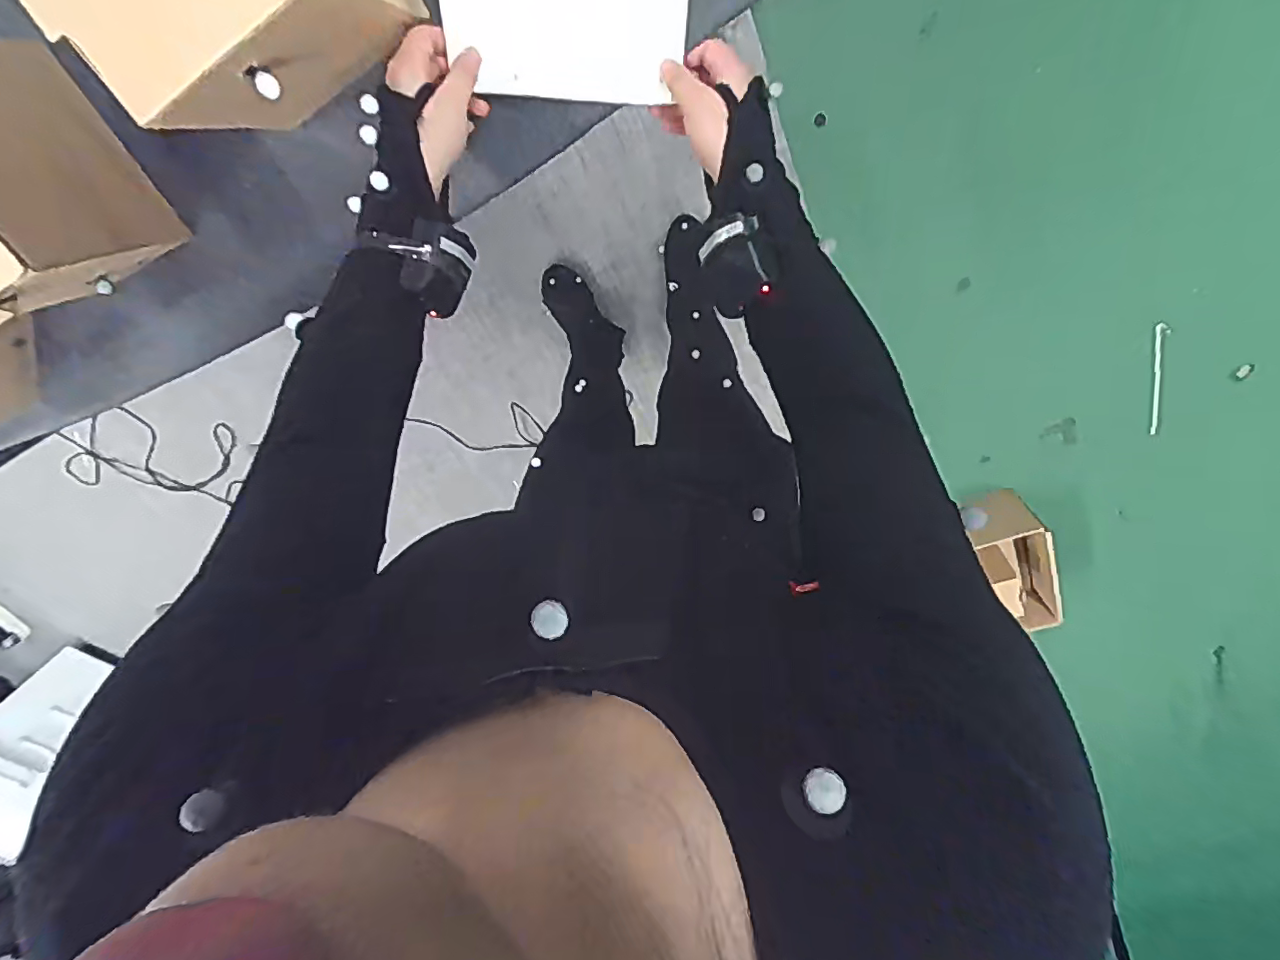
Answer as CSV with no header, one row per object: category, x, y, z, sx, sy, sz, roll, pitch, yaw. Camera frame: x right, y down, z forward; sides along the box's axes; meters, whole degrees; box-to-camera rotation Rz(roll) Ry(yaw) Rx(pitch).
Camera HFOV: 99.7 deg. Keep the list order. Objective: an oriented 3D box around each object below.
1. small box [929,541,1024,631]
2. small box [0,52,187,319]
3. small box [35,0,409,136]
small box,0.957,0.298,1.544,0.179,0.176,0.168,-20,122,19
small box,-0.582,-0.255,0.481,0.168,0.176,0.179,-16,121,17
small box,-0.291,-0.371,0.373,0.179,0.176,0.168,-20,119,19
